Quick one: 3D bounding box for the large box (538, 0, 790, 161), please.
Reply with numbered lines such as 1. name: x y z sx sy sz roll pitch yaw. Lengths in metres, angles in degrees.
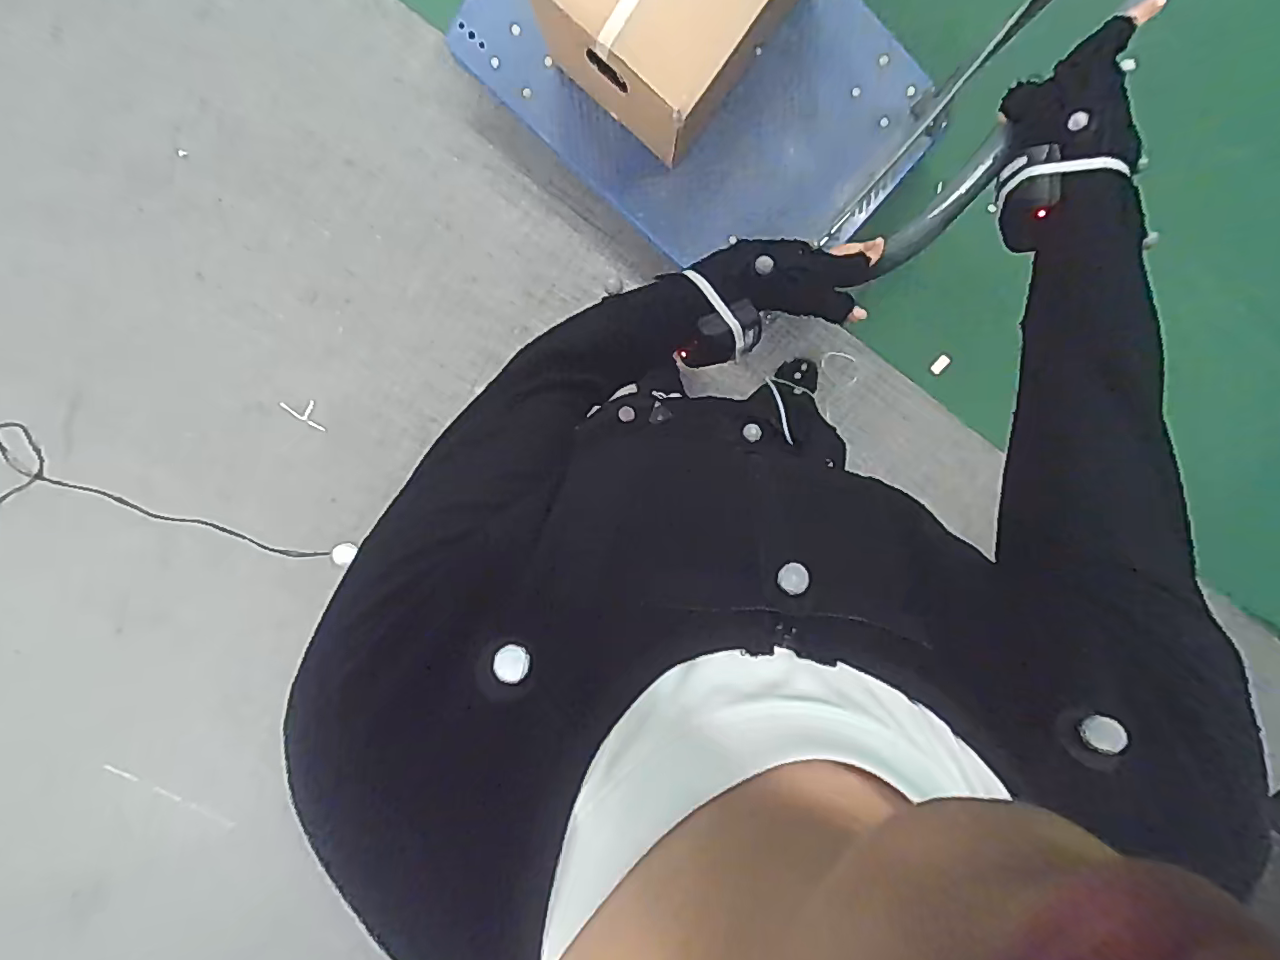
1. large box: 0.076 -0.842 0.898 0.320 0.320 0.408 37 105 -9
